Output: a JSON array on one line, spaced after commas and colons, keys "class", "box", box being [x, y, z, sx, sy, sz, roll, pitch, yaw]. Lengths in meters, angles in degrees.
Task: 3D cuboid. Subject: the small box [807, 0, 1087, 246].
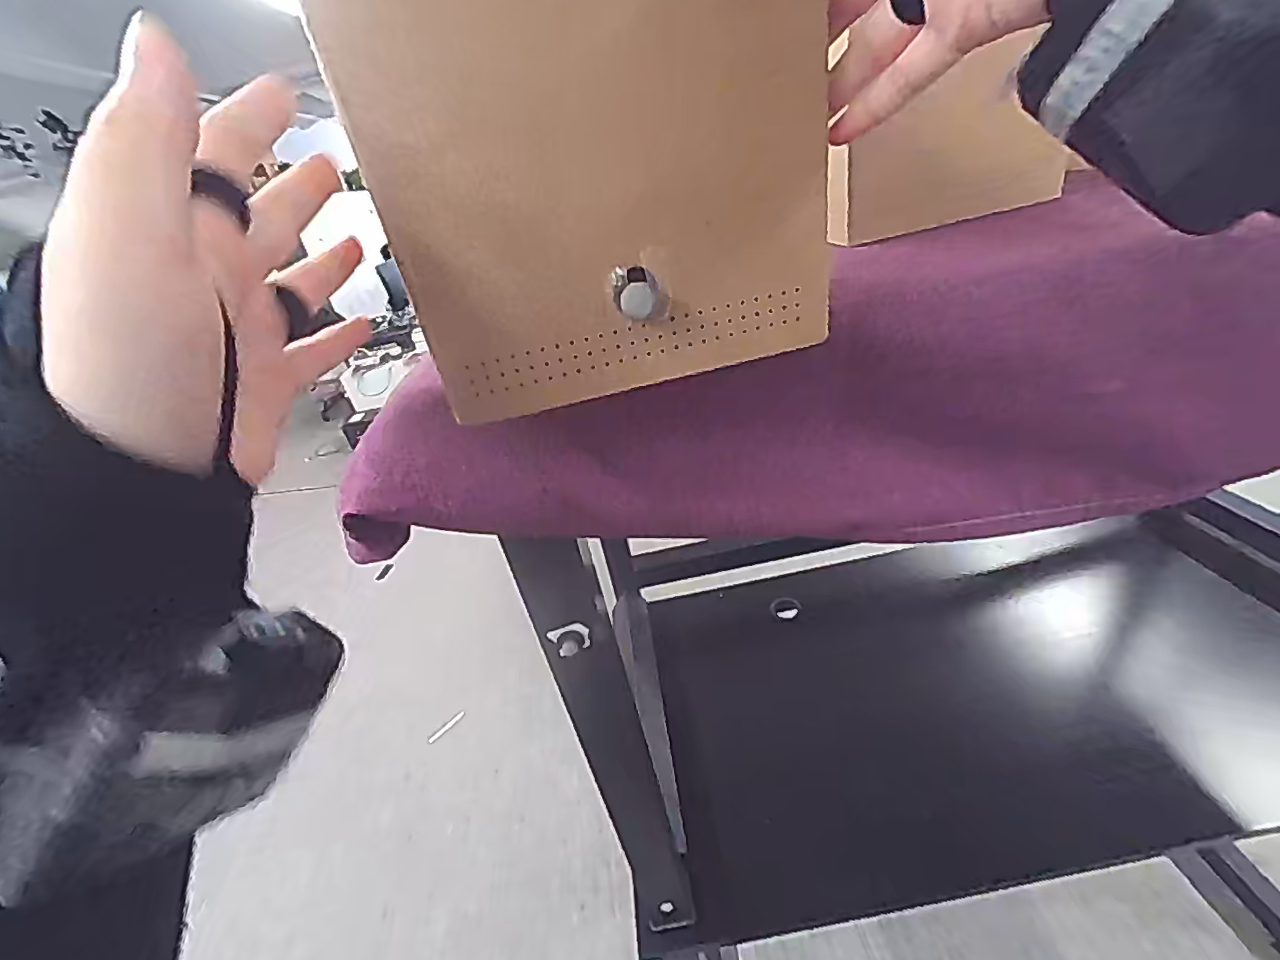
[{"class": "small box", "box": [0.208, -0.302, 0.437, 0.179, 0.176, 0.168, -14, 29, -2]}]

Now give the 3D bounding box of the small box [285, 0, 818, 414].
[{"class": "small box", "box": [-0.028, -0.151, 0.266, 0.179, 0.176, 0.168, -14, 30, -5]}]
